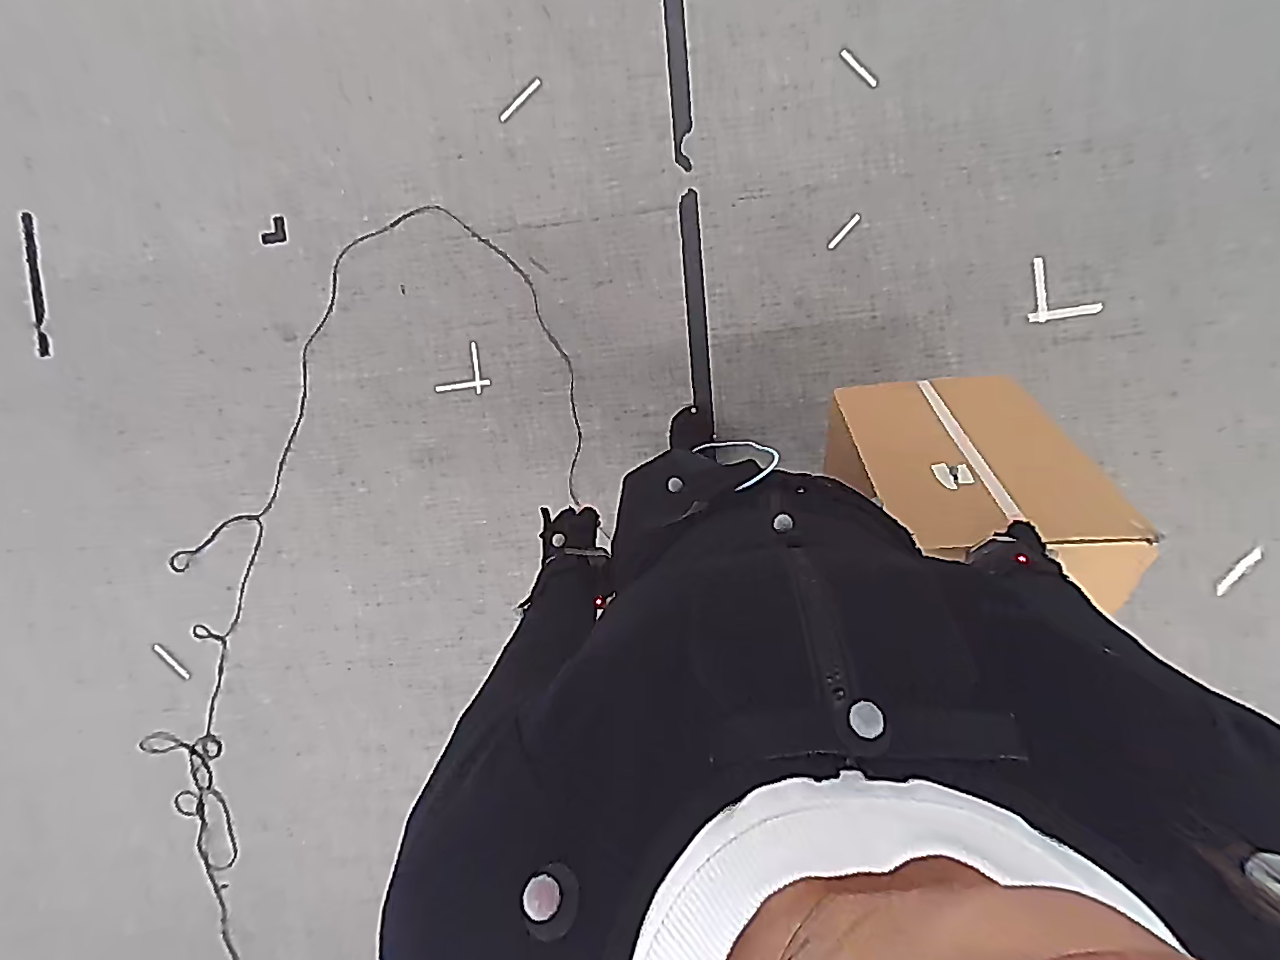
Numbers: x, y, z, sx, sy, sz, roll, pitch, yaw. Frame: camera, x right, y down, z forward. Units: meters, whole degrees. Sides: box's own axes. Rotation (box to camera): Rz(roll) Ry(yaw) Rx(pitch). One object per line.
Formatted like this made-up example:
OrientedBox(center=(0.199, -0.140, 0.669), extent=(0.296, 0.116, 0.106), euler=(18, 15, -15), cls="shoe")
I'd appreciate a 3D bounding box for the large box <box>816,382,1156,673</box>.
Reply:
OrientedBox(center=(0.514, 0.072, 0.931), extent=(0.320, 0.408, 0.320), euler=(-4, 131, 7), cls="large box")
